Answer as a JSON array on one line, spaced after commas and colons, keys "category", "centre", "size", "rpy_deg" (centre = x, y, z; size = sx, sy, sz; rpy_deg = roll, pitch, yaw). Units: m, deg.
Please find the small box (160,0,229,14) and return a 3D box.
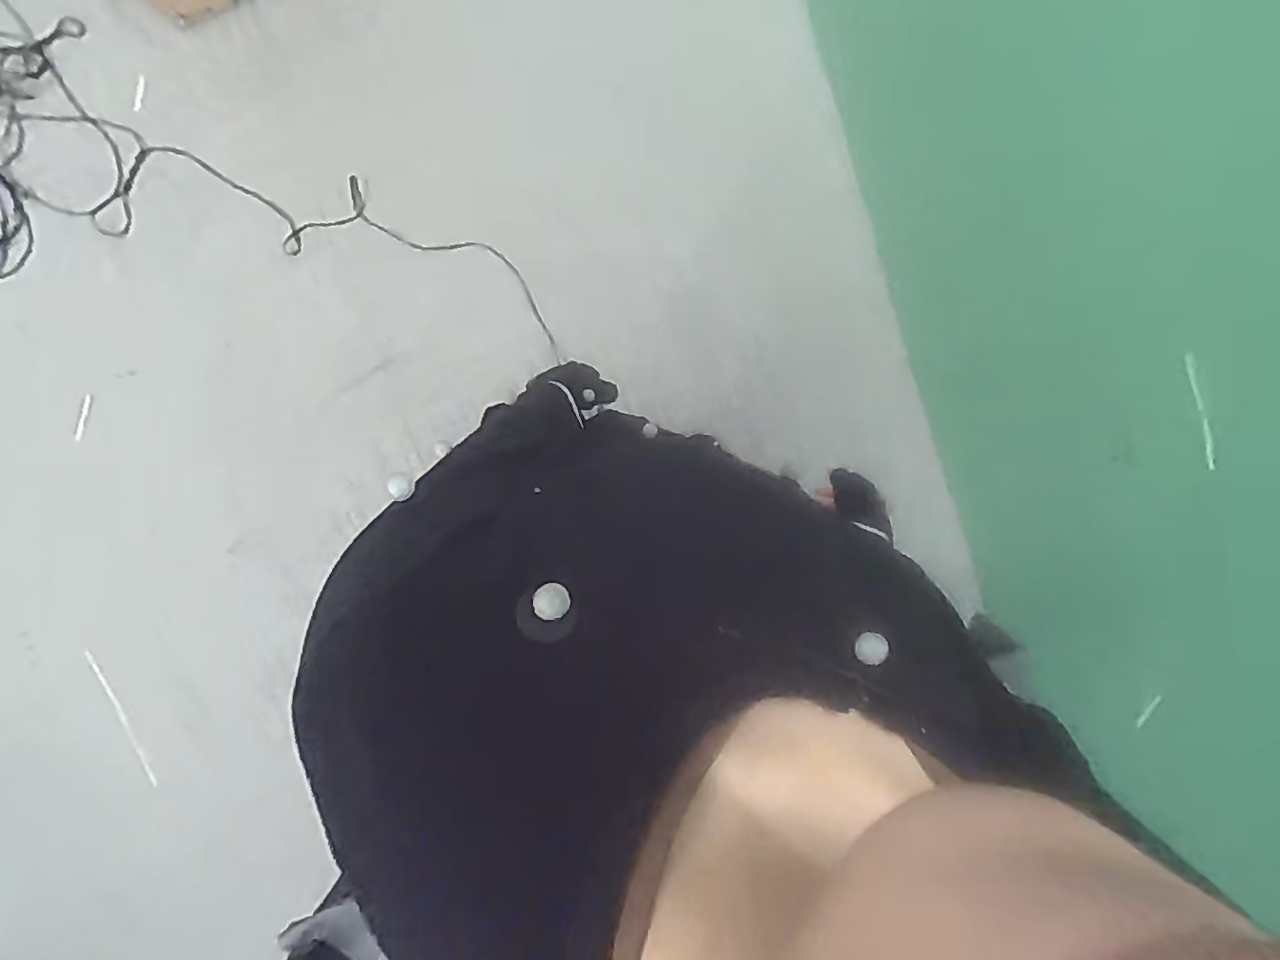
[{"category": "small box", "centre": [-1.127, -1.271, 1.291], "size": [0.168, 0.176, 0.179], "rpy_deg": [-17, 96, 4]}]
